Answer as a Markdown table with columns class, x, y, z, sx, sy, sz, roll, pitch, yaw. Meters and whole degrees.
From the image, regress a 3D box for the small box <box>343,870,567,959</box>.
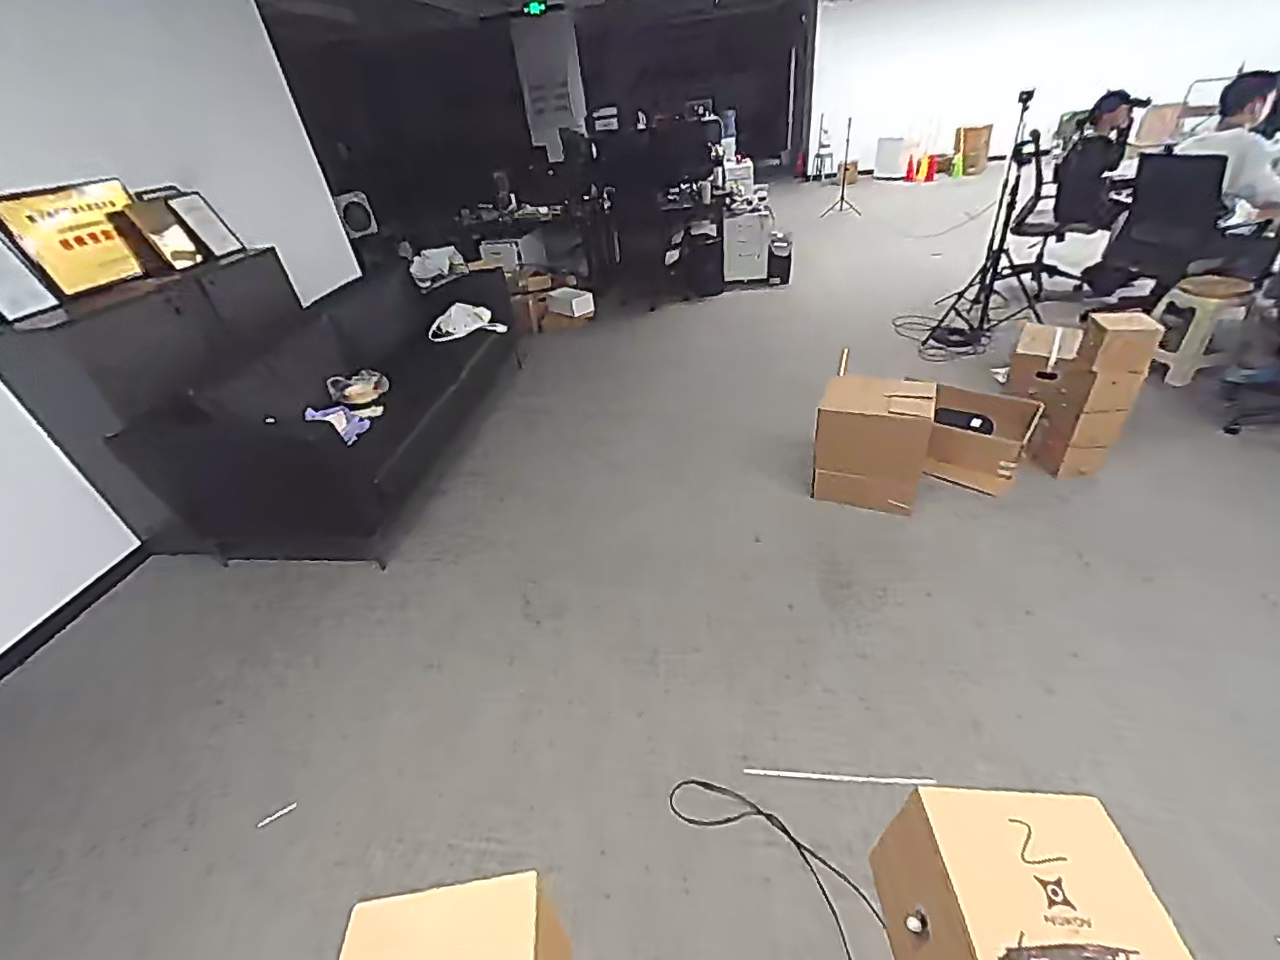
| class | x | y | z | sx | sy | sz | roll | pitch | yaw |
| --- | --- | --- | --- | --- | --- | --- | --- | --- | --- |
| small box | -0.154 | 0.477 | 0.458 | 0.168 | 0.176 | 0.179 | -8 | 34 | -3 |
